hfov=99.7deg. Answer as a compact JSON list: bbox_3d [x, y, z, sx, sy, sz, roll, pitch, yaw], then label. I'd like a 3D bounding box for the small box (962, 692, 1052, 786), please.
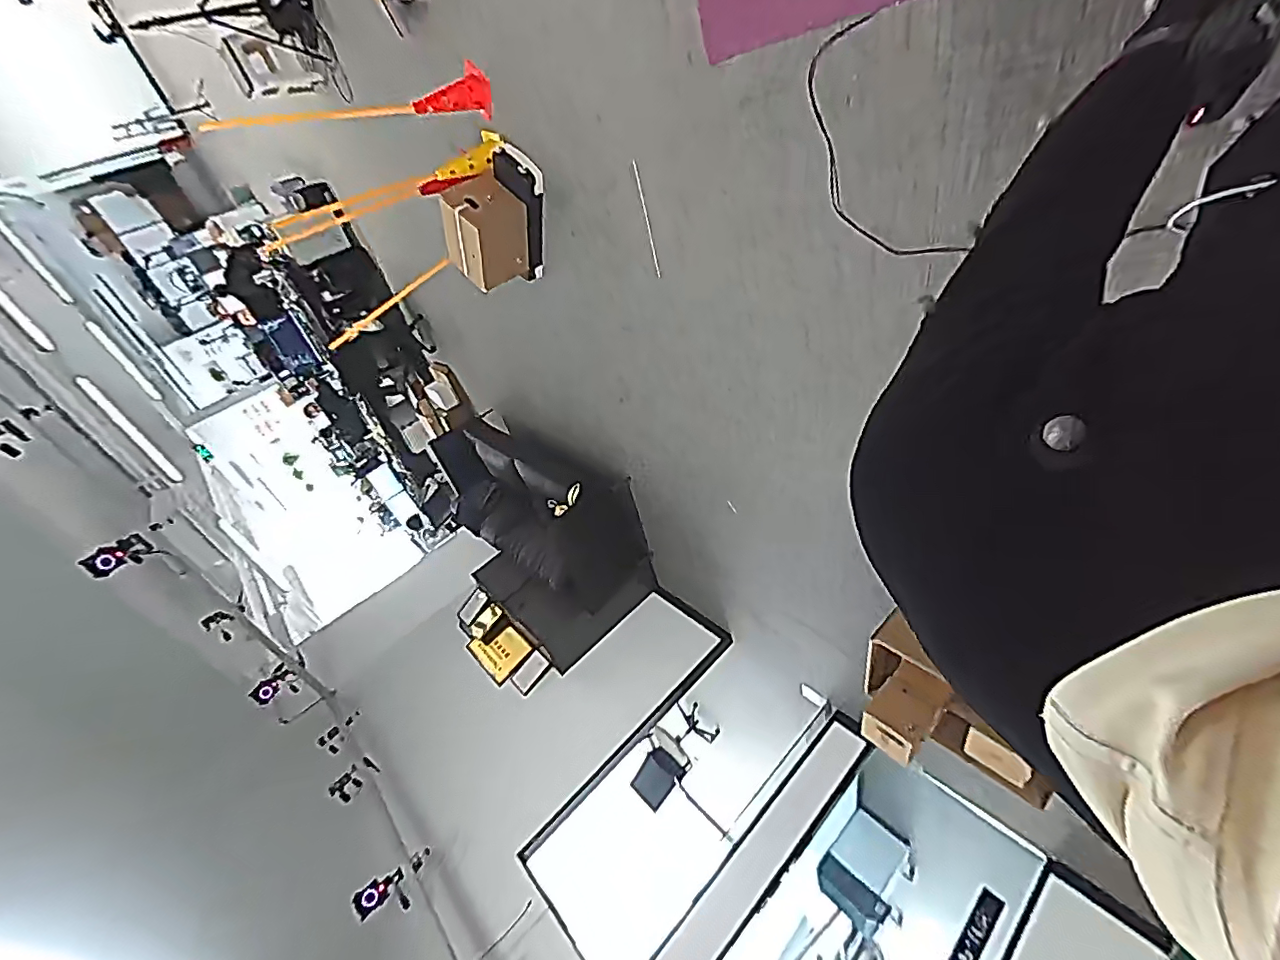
[{"bbox_3d":[1.156,0.811,1.705,0.179,0.176,0.168,30,146,43],"label":"small box"}]
